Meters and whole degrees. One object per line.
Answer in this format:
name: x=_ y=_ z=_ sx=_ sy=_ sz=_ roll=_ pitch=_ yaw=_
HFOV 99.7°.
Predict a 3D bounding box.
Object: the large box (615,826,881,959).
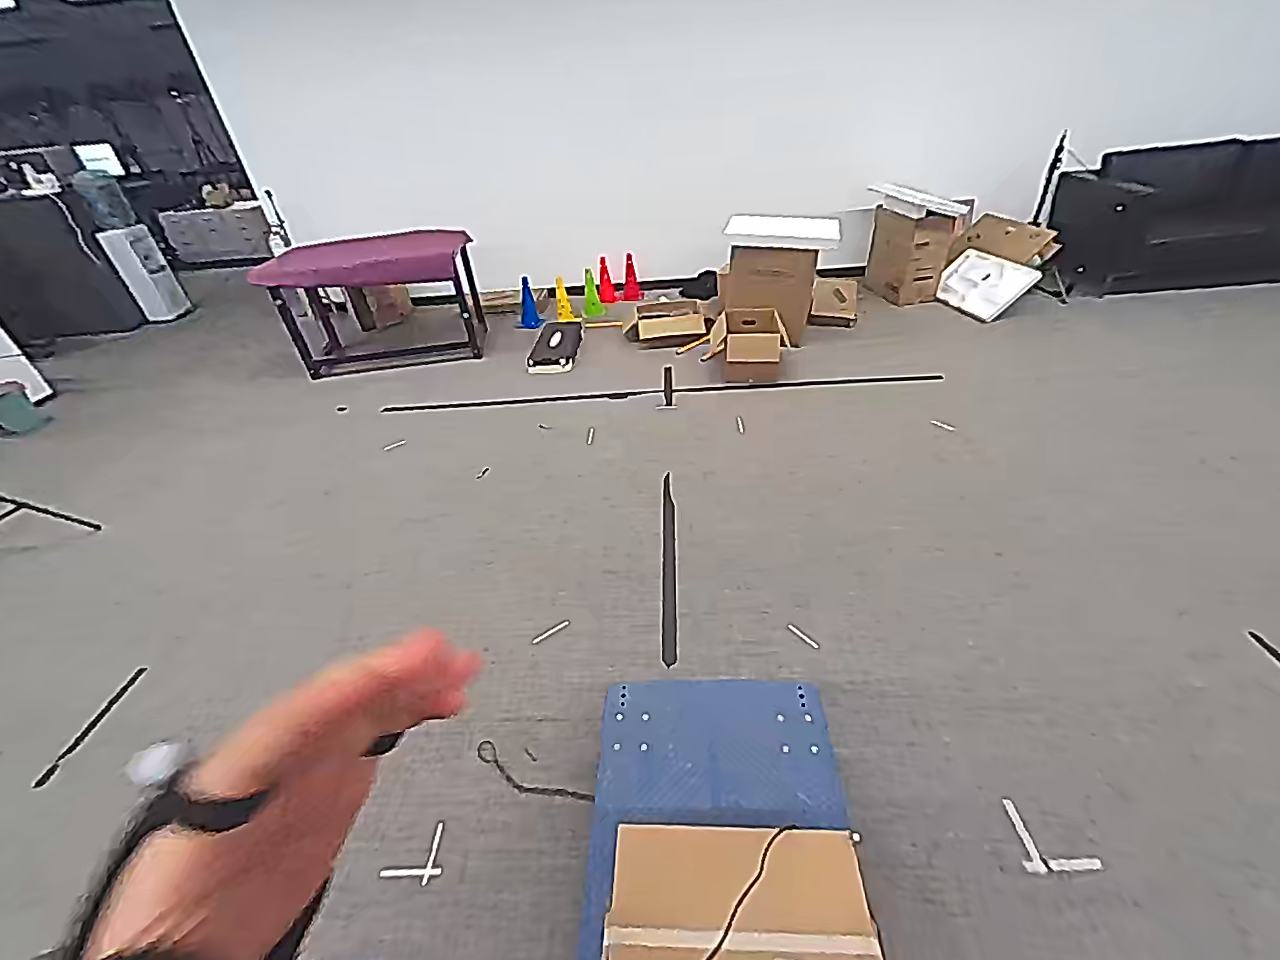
large box: x=0.168 y=0.823 z=0.917 sx=0.408 sy=0.320 sz=0.320 roll=-1 pitch=38 yaw=4
